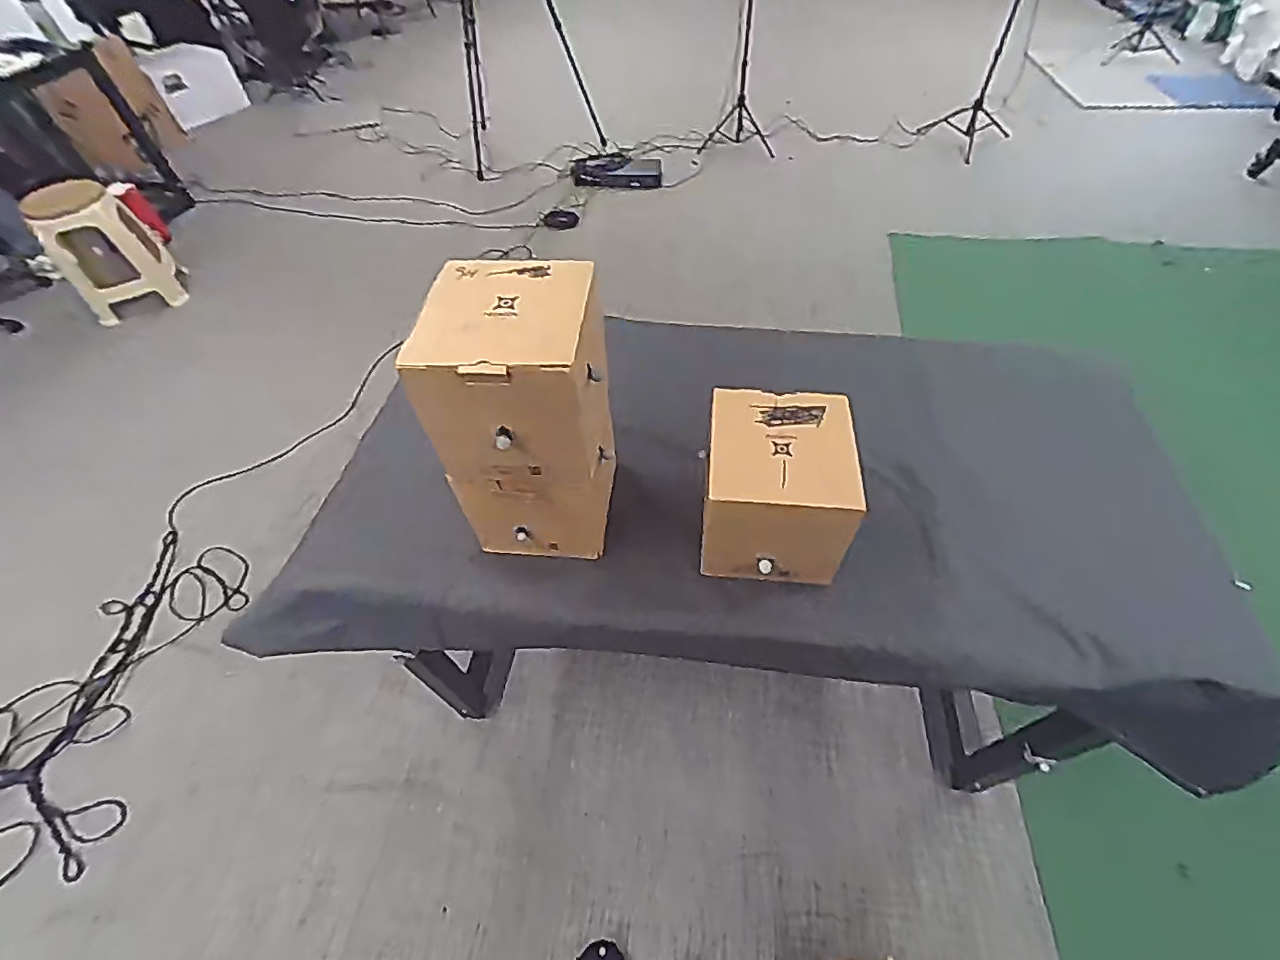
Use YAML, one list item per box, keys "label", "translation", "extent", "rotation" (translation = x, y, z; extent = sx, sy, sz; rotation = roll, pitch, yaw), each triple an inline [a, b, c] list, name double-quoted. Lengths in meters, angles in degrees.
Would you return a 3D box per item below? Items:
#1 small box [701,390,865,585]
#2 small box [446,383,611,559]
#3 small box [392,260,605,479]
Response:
- label: "small box"
  translation: [0.164, 0.010, 0.679]
  extent: [0.168, 0.176, 0.179]
  rotation: [3, 52, 6]
- label: "small box"
  translation: [-0.131, -0.017, 0.719]
  extent: [0.168, 0.176, 0.179]
  rotation: [3, 52, 4]
- label: "small box"
  translation: [-0.132, -0.115, 0.588]
  extent: [0.168, 0.176, 0.179]
  rotation: [2, 53, 4]
